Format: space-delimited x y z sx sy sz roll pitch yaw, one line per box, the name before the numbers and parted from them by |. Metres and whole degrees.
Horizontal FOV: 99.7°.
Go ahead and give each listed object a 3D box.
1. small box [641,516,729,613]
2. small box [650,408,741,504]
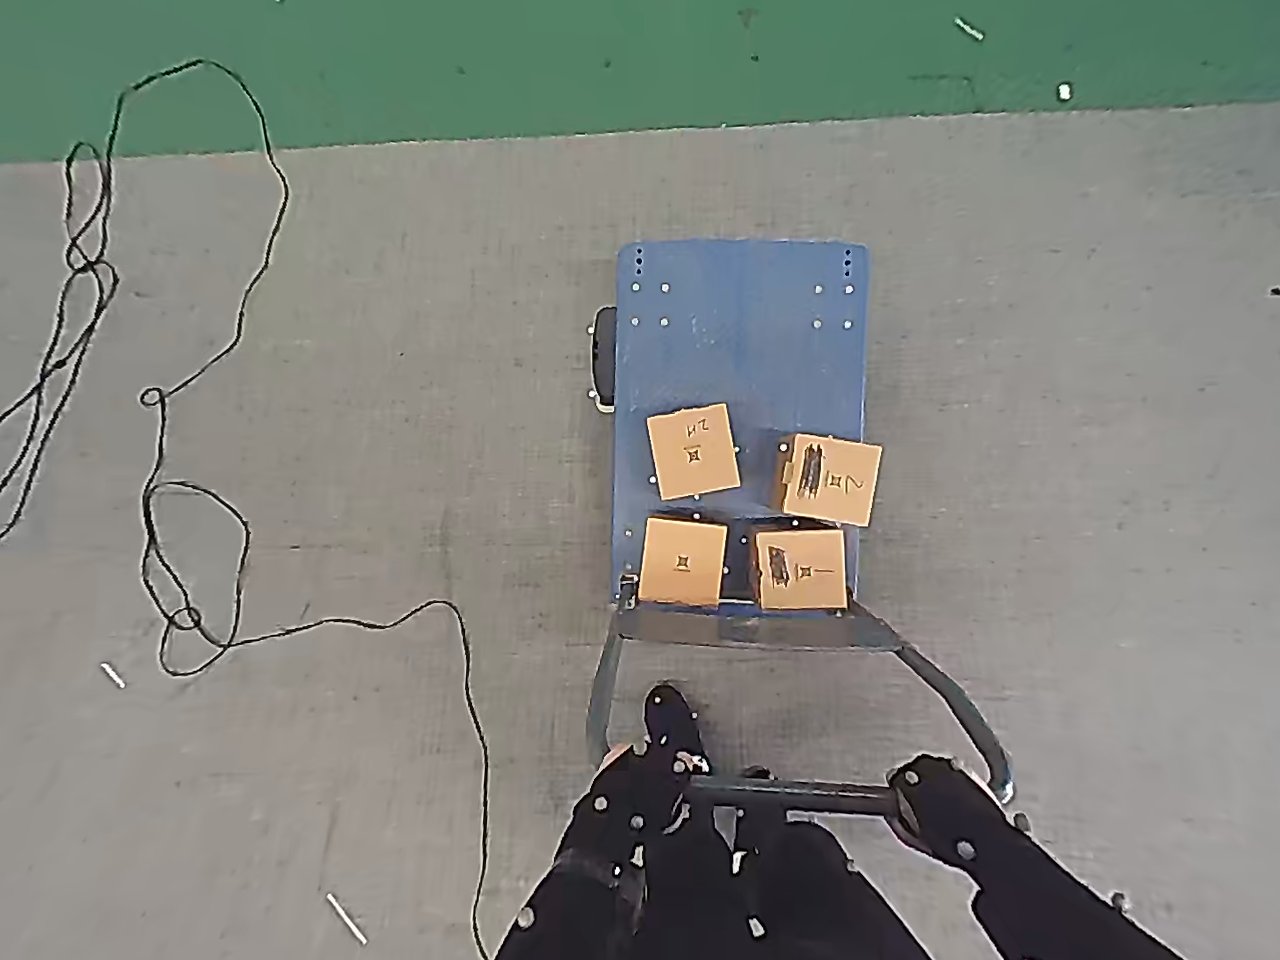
small box | 0.094 0.176 1.183 0.168 0.176 0.179 7 91 3
small box | 0.118 -0.051 1.178 0.168 0.176 0.179 -10 90 2
